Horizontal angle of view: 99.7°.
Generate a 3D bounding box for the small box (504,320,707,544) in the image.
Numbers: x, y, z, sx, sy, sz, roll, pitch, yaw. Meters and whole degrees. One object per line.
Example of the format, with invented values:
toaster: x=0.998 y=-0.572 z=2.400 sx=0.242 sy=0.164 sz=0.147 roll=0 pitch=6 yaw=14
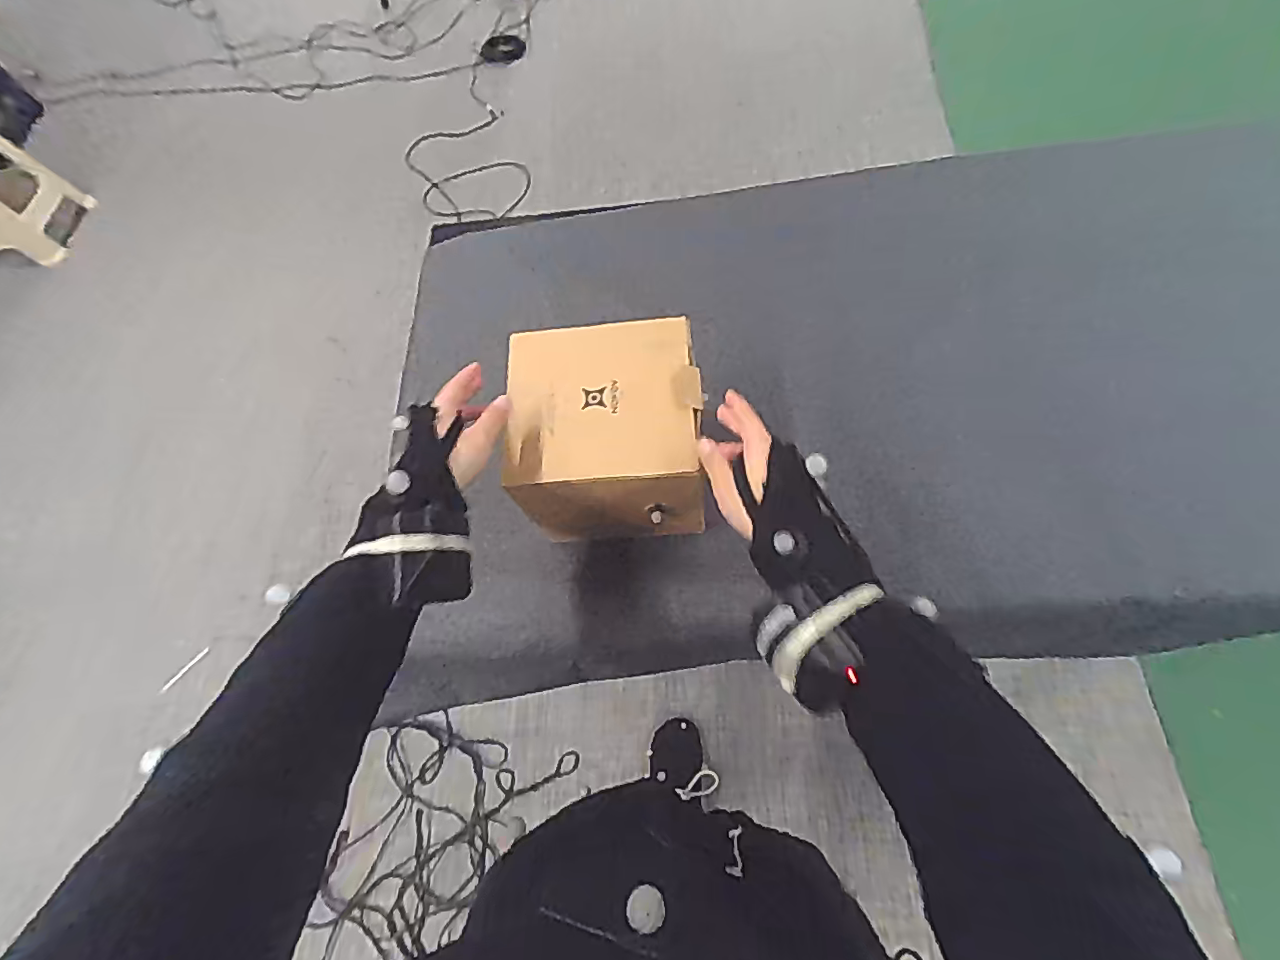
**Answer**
small box: x=-0.025 y=-0.039 z=0.561 sx=0.179 sy=0.176 sz=0.168 roll=-5 pitch=65 yaw=6
